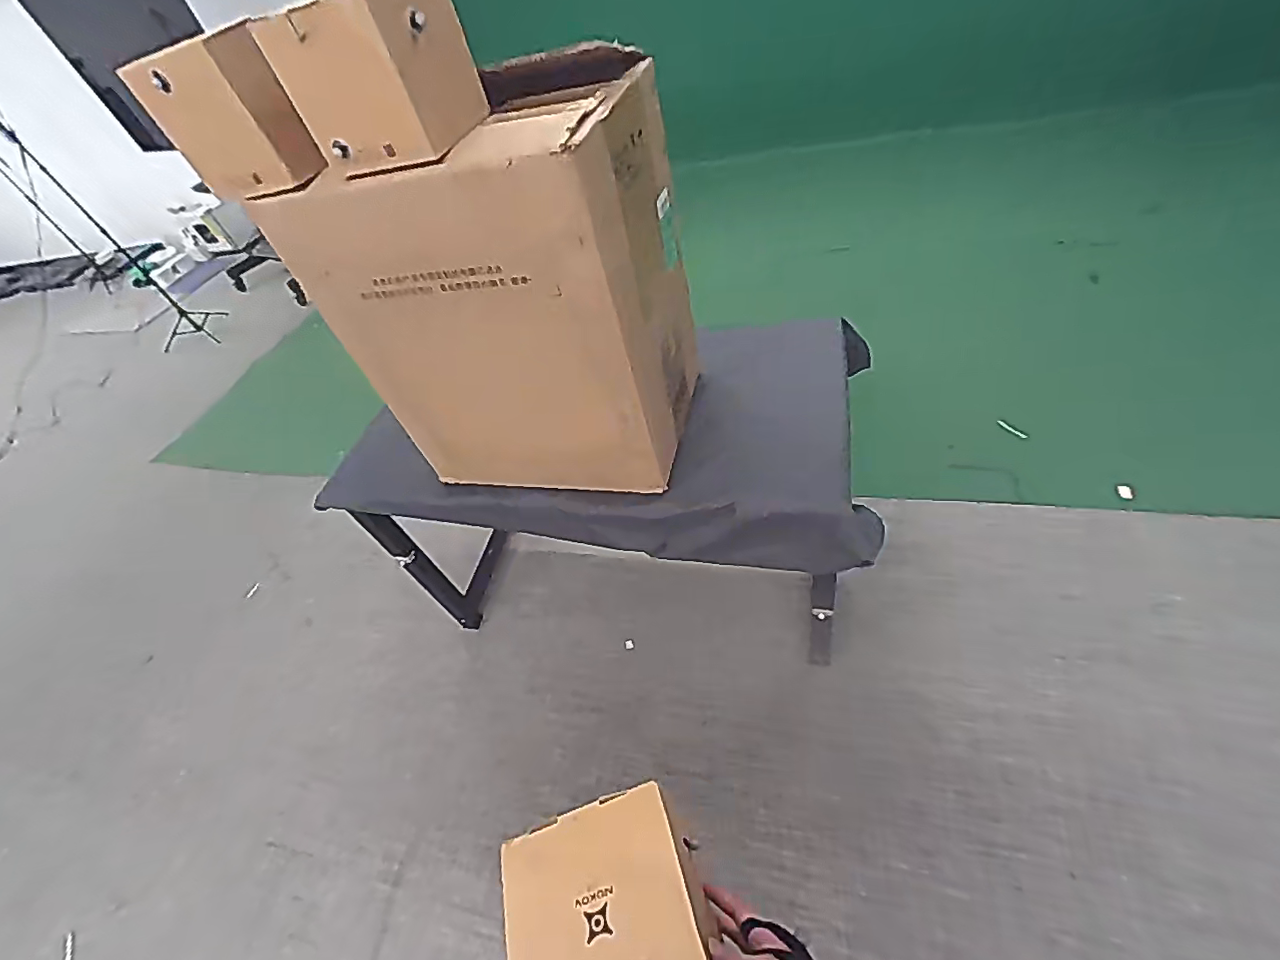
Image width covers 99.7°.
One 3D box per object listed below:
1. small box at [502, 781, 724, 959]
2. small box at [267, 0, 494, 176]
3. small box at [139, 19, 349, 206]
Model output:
[{"bbox_3d":[-0.020,0.433,0.518,0.168,0.176,0.179,-21,40,-2],"label":"small box"},{"bbox_3d":[-0.317,-0.515,0.704,0.168,0.176,0.179,3,49,18],"label":"small box"},{"bbox_3d":[-0.529,-0.519,0.775,0.168,0.176,0.179,2,49,22],"label":"small box"}]
